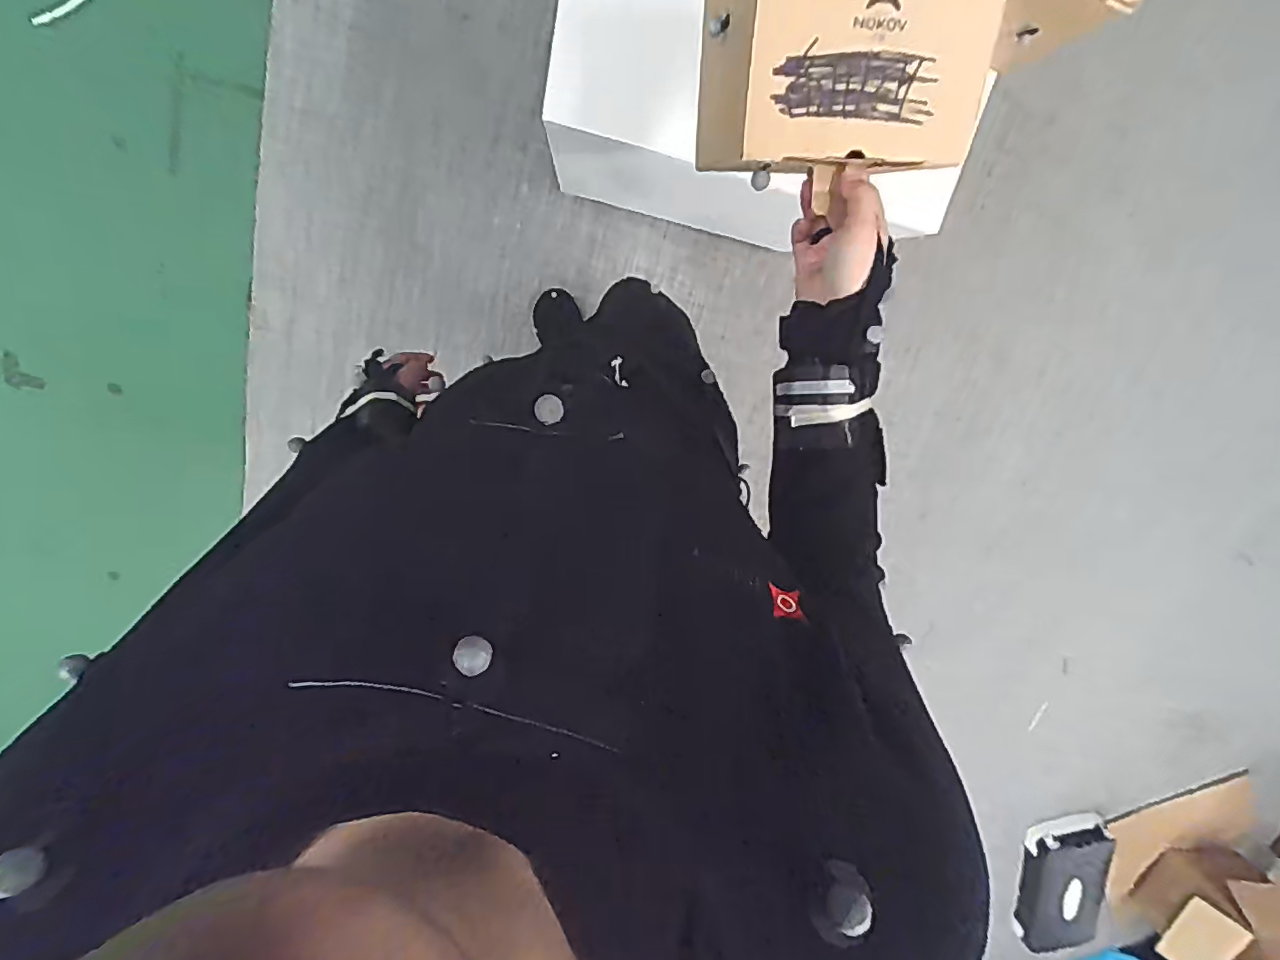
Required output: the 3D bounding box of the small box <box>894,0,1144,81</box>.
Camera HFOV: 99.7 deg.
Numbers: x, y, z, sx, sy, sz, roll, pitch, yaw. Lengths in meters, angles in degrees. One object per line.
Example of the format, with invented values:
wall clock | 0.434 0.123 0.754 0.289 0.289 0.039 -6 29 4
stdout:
small box | 0.381 -0.531 0.524 0.168 0.176 0.179 12 108 -10
